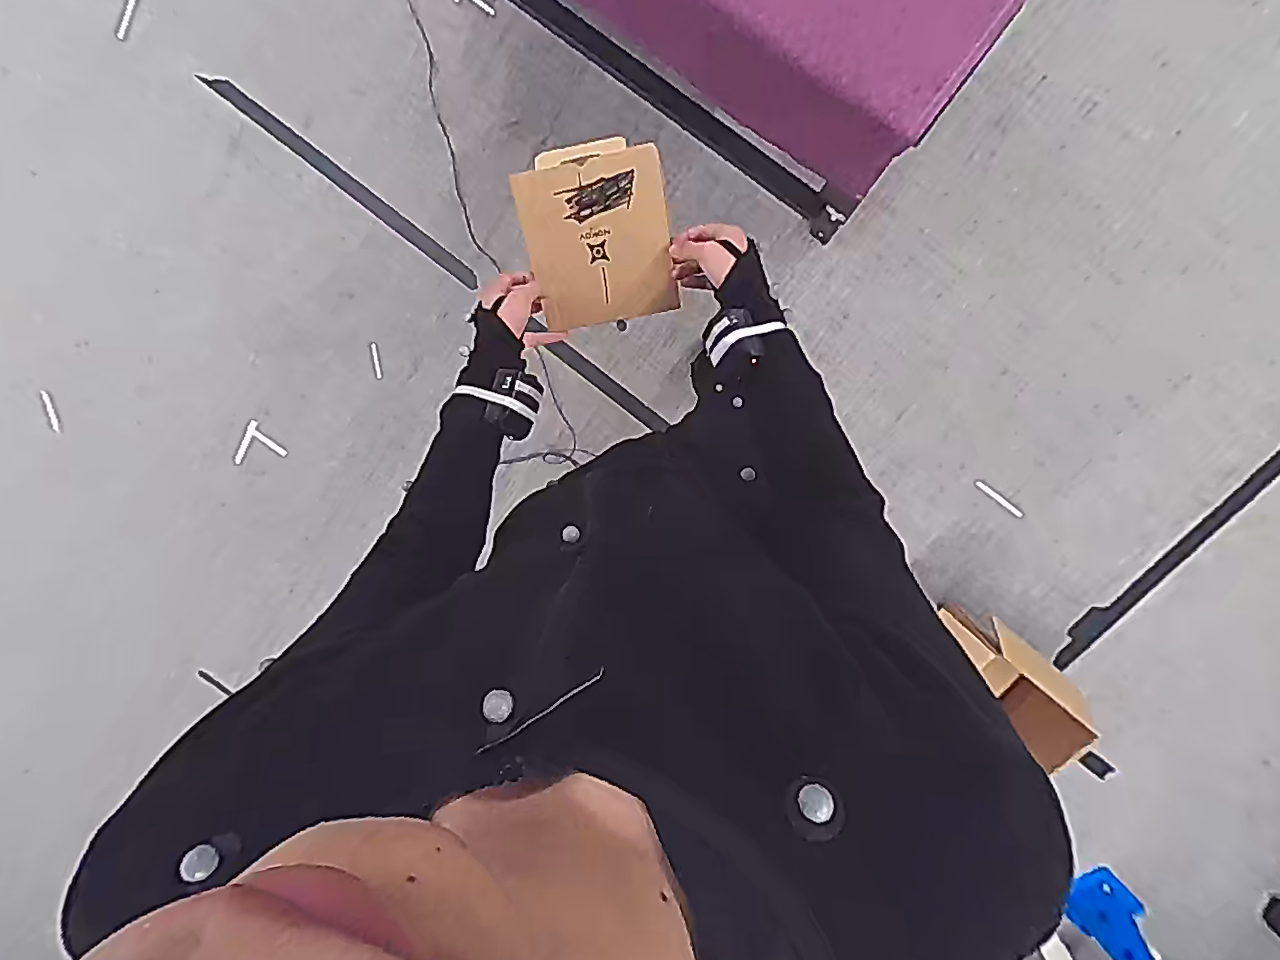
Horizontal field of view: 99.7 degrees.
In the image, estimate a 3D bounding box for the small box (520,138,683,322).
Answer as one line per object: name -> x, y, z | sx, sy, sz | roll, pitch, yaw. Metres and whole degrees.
small box -> -0.038, -0.309, 0.702 | 0.168, 0.176, 0.179 | -8, 108, 8
